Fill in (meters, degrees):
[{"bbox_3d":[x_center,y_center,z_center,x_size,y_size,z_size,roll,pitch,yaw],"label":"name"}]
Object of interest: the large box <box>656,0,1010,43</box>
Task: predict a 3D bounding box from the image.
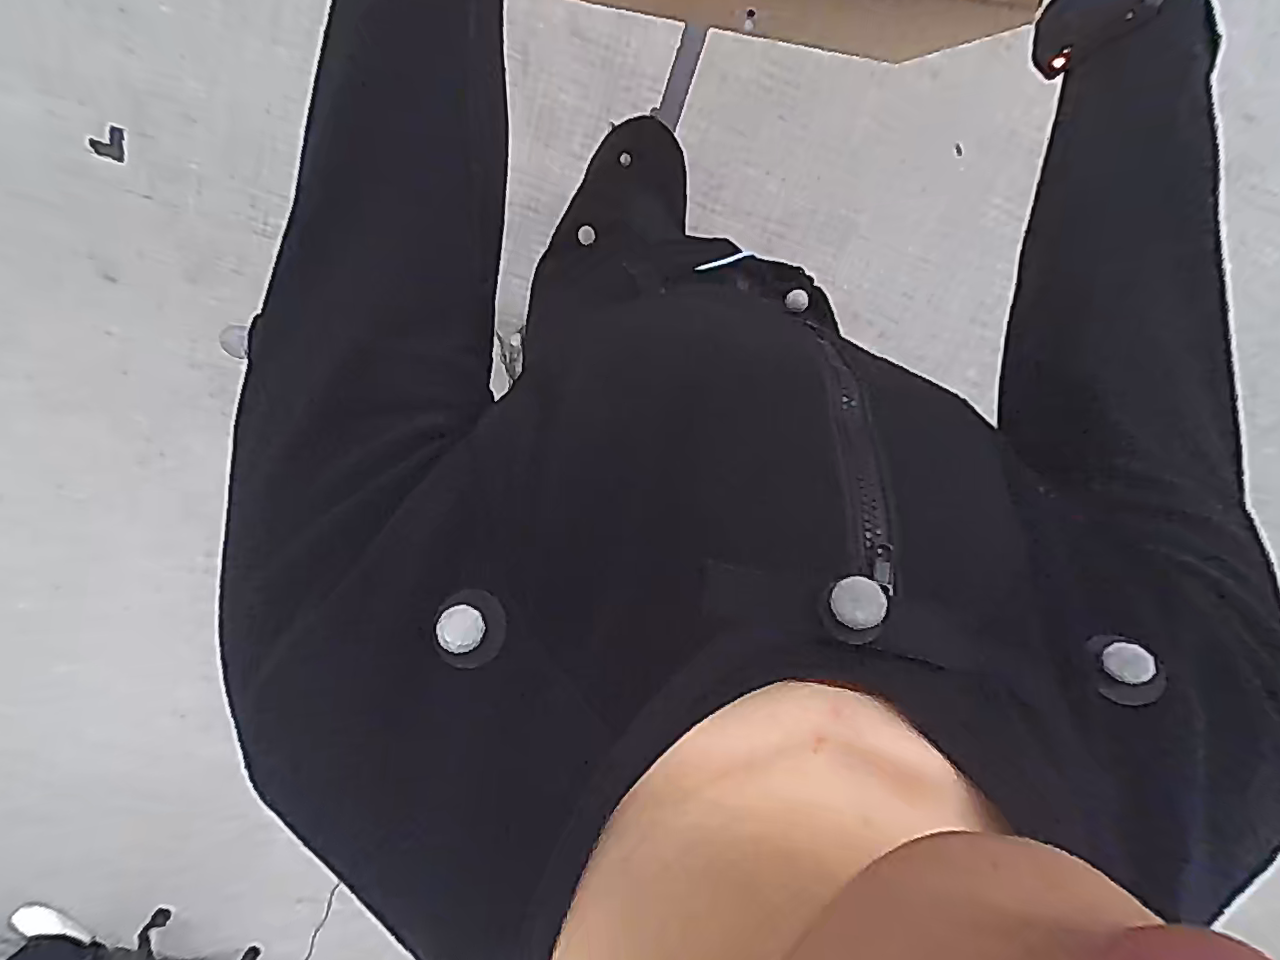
[{"bbox_3d":[0.128,-0.583,0.422,0.408,0.320,0.320,9,122,-3],"label":"large box"}]
